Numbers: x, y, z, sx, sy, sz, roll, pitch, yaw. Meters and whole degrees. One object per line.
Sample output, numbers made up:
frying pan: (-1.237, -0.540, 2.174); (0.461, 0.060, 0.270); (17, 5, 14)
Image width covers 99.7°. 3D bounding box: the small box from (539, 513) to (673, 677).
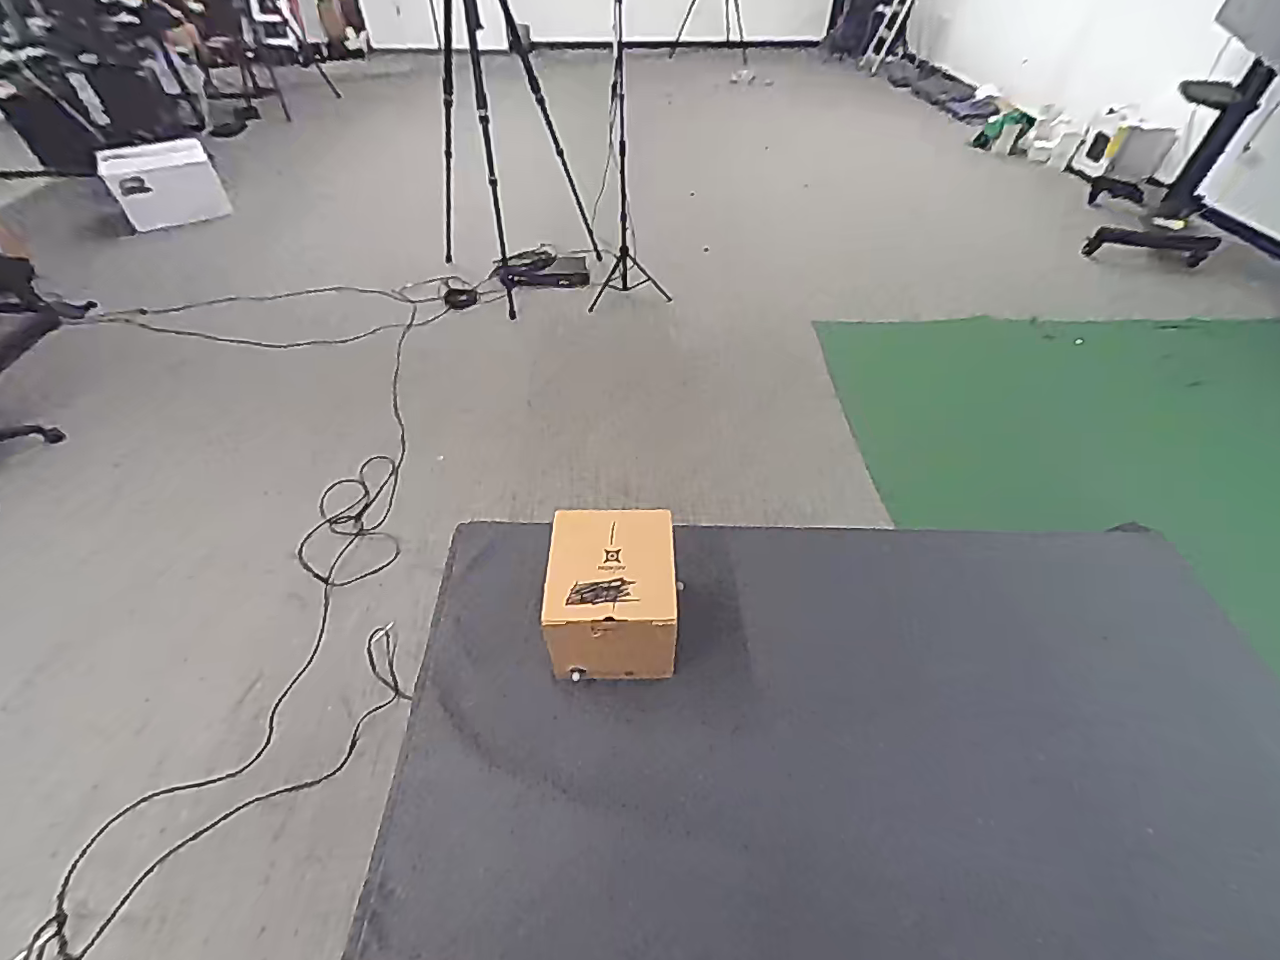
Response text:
small box: (-0.039, 0.165, 0.761); (0.168, 0.176, 0.179); (0, 47, -1)
